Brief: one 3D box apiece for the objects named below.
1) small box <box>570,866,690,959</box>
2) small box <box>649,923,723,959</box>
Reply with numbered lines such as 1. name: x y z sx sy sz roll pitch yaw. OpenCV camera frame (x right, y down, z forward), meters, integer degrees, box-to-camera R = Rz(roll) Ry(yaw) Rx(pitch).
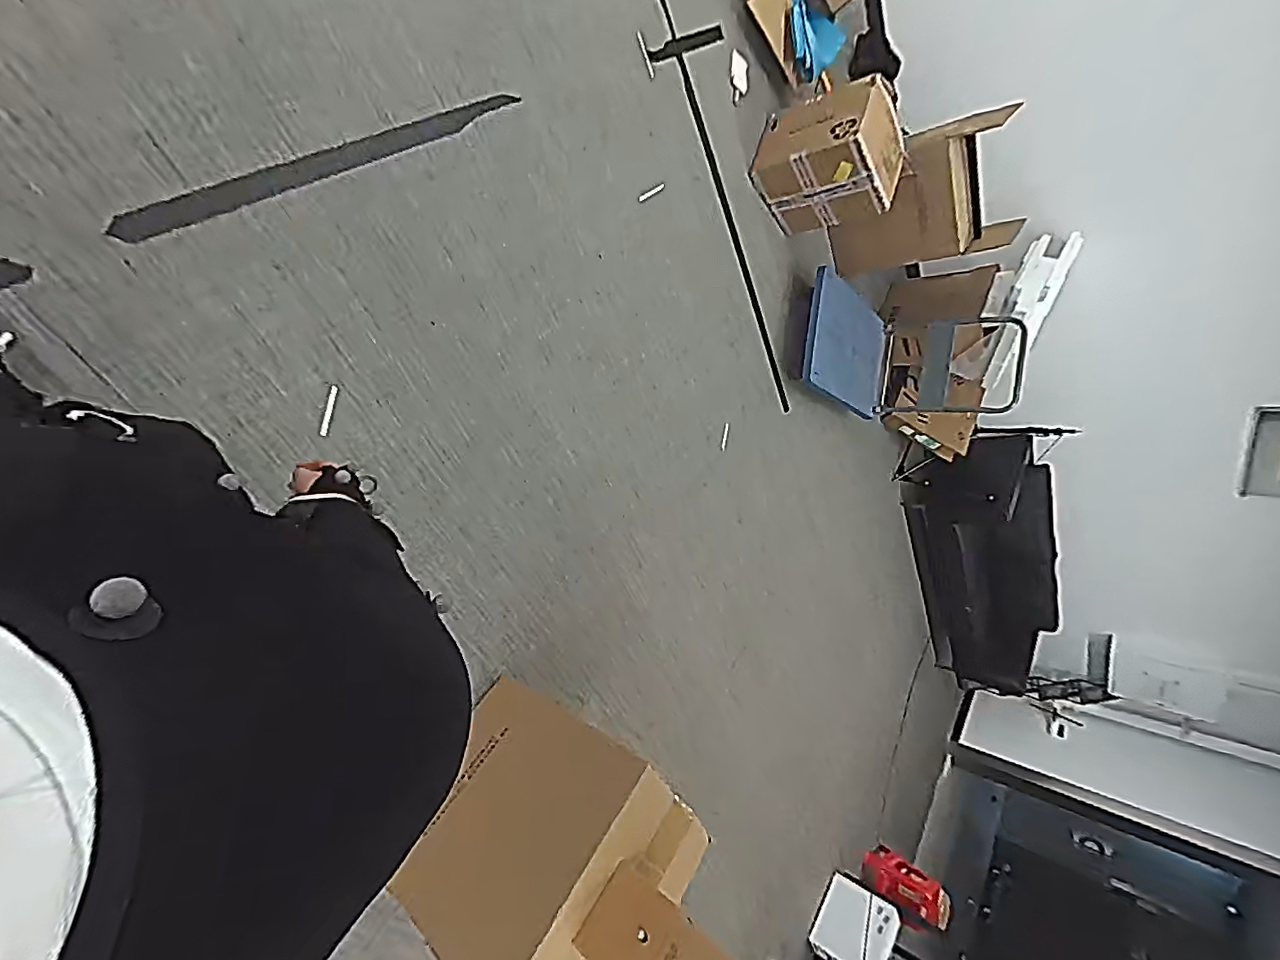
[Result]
1. small box: -0.019 0.950 1.105 0.179 0.176 0.168 -46 125 -35
2. small box: 0.103 0.977 0.997 0.168 0.176 0.179 -46 124 -35
